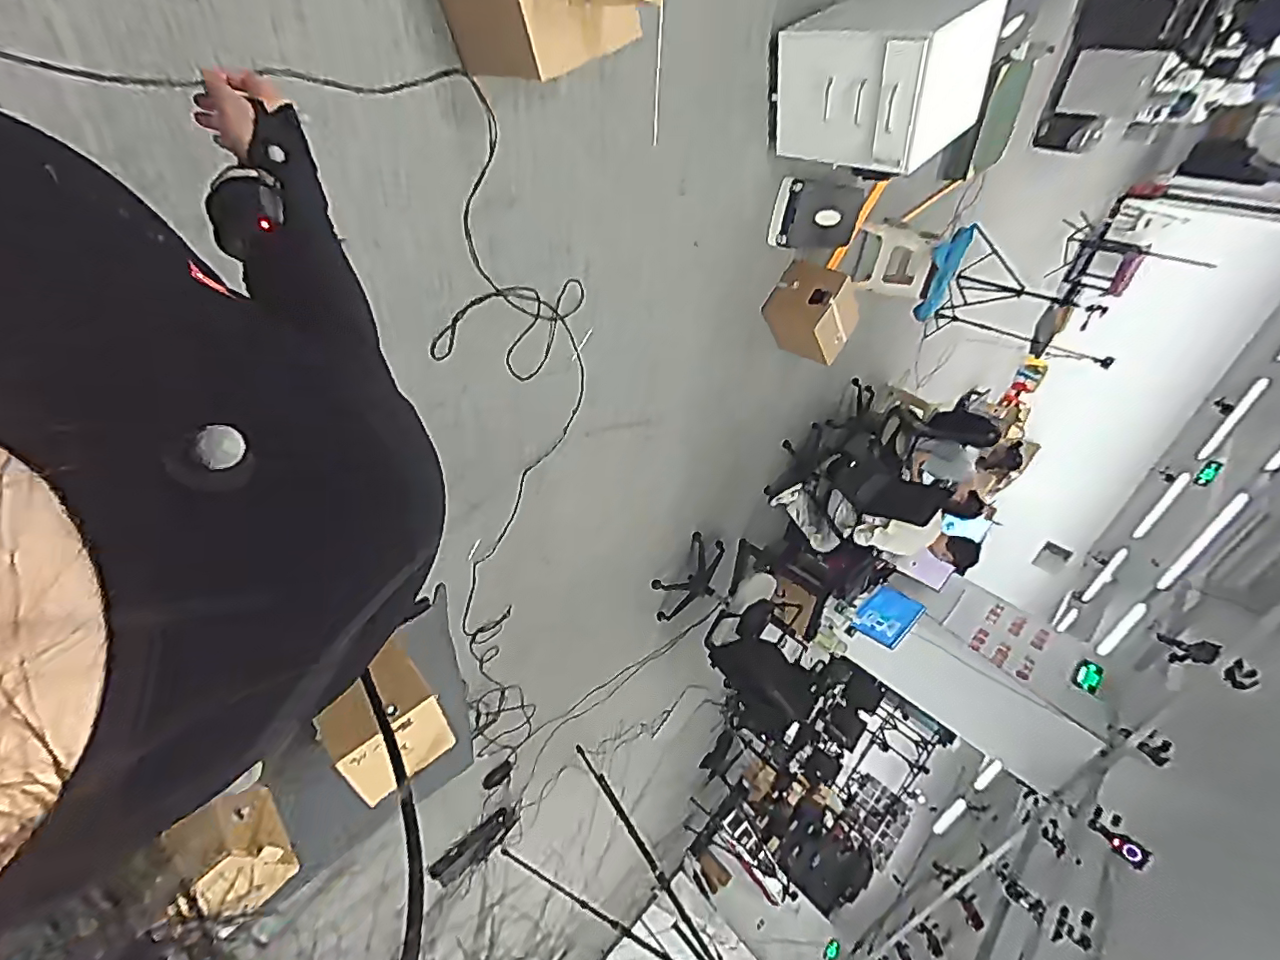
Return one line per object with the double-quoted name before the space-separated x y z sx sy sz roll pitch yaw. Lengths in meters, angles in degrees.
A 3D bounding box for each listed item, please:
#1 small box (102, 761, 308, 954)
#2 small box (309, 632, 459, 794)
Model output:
"small box" -0.671 0.577 0.839 0.179 0.176 0.168 -40 143 -23
"small box" -0.456 0.411 0.973 0.168 0.176 0.179 -33 140 -32
